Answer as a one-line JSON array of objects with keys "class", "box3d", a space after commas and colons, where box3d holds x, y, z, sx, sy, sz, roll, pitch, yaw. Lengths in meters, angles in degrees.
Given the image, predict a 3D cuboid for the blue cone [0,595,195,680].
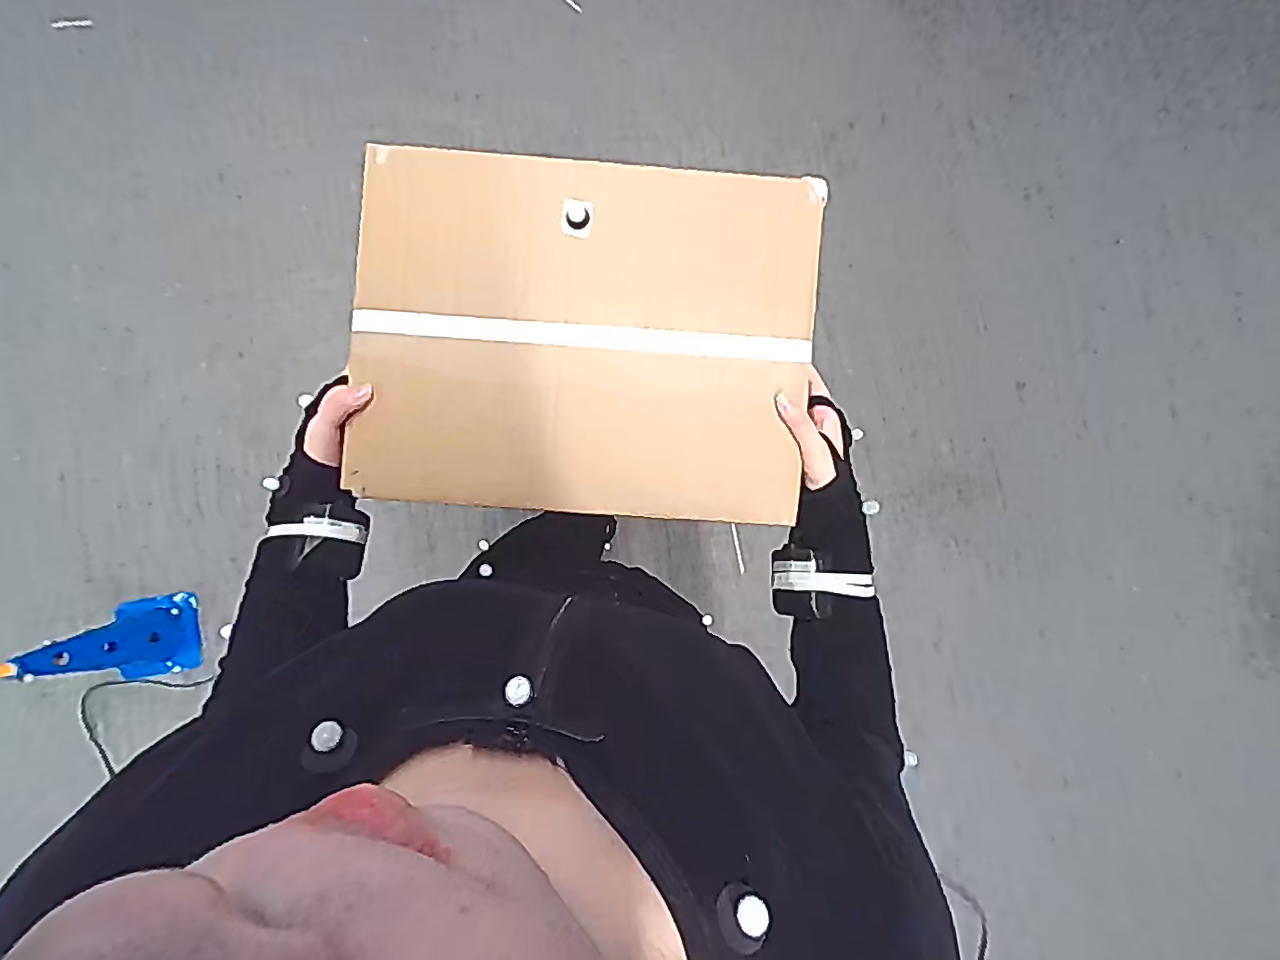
[{"class": "blue cone", "box3d": [-1.227, 0.380, 1.208, 0.192, 0.380, 0.193, -11, 84, -6]}]
